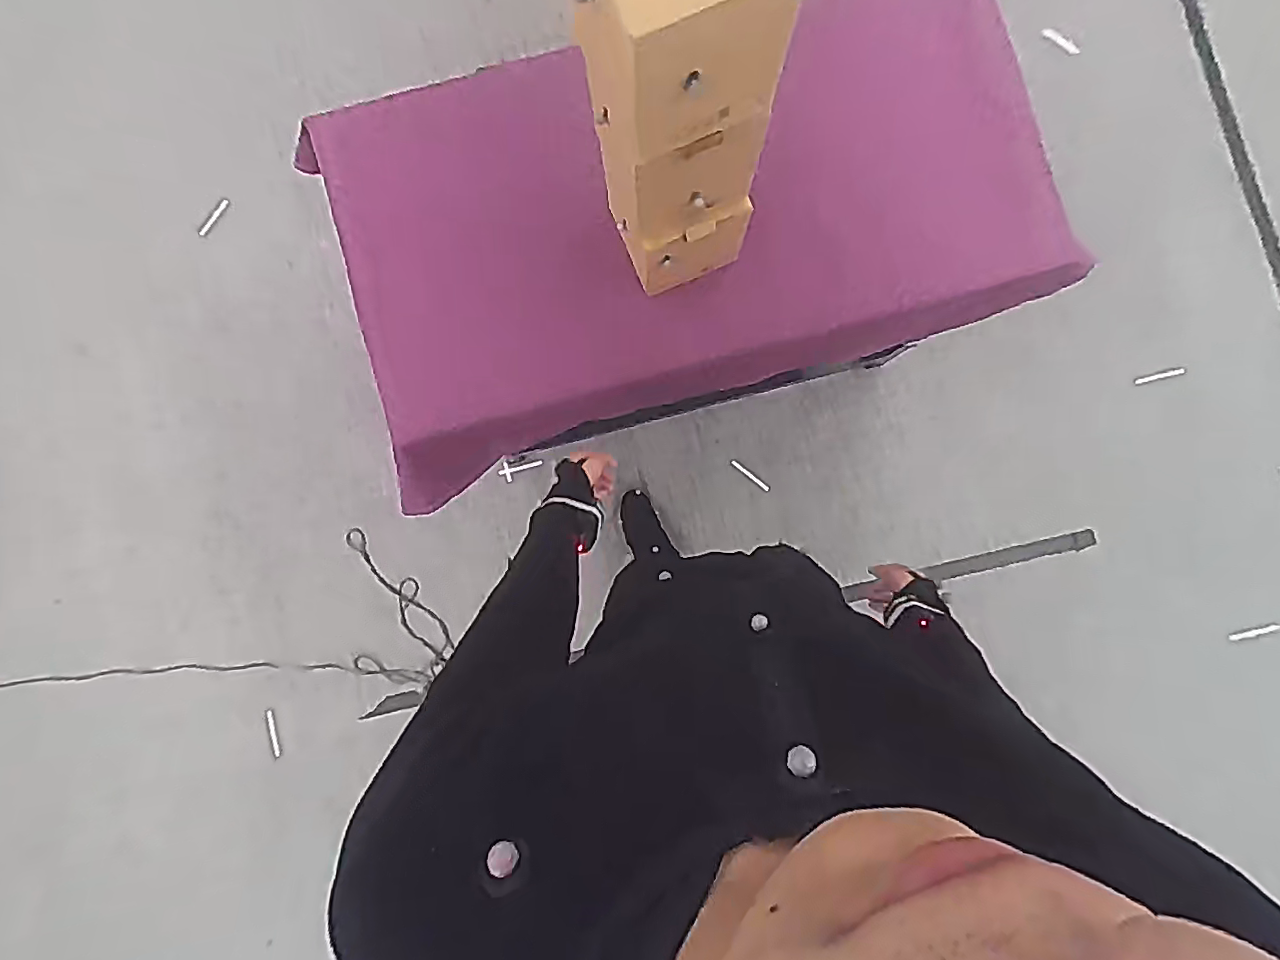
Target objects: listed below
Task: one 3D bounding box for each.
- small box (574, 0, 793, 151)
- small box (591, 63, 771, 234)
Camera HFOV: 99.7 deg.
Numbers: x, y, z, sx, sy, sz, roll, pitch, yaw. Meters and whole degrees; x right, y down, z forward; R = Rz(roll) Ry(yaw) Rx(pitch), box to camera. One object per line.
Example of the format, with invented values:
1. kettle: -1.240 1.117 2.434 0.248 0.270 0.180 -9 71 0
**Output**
1. small box: 0.037 -0.459 0.522 0.168 0.176 0.179 -24 85 0
2. small box: 0.042 -0.453 0.684 0.168 0.176 0.179 -21 87 0
